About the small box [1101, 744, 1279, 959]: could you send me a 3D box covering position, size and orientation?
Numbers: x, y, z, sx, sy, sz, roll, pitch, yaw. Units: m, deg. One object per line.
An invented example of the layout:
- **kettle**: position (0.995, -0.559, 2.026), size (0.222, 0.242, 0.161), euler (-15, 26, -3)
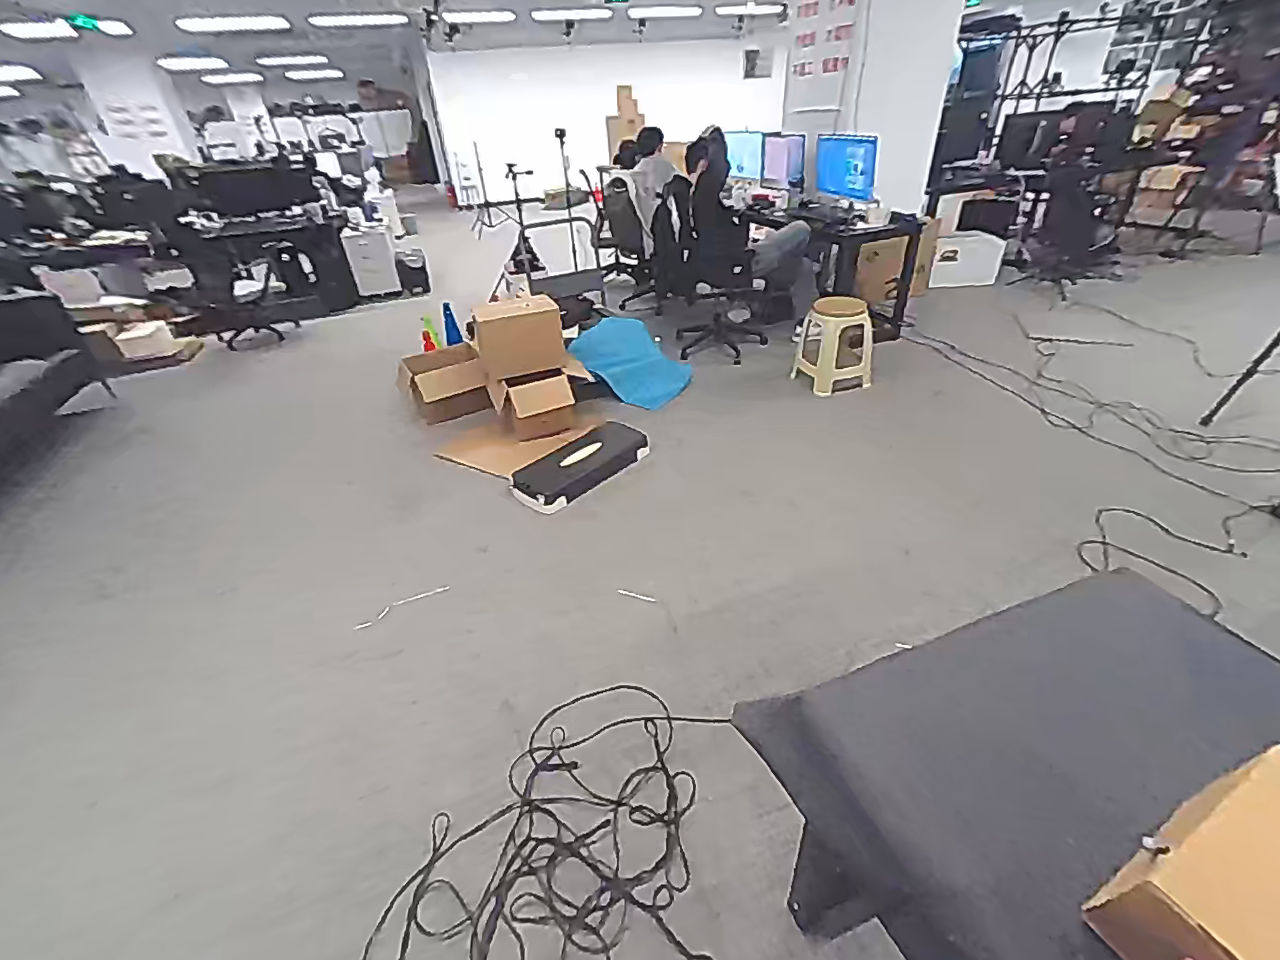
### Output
- **small box**: position (0.521, 0.356, 0.427), size (0.179, 0.176, 0.168), euler (-32, 43, -13)
